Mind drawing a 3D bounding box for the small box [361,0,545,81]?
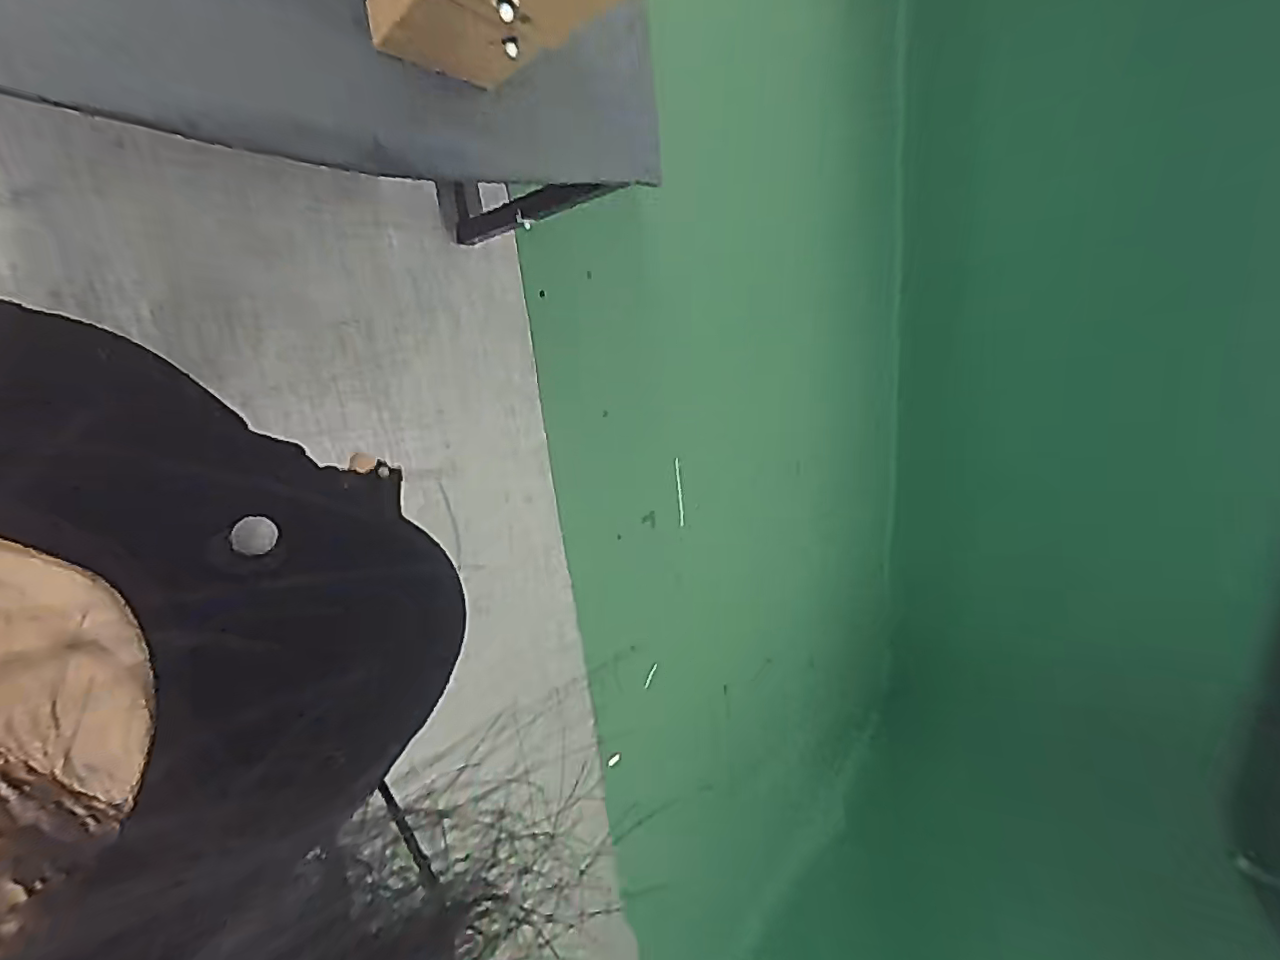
[{"bbox_3d":[-0.236,-0.643,0.681,0.179,0.176,0.168,-15,106,-43],"label":"small box"}]

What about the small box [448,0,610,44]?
[{"bbox_3d":[-0.121,-0.619,0.569,0.168,0.176,0.179,-12,106,-43],"label":"small box"}]
